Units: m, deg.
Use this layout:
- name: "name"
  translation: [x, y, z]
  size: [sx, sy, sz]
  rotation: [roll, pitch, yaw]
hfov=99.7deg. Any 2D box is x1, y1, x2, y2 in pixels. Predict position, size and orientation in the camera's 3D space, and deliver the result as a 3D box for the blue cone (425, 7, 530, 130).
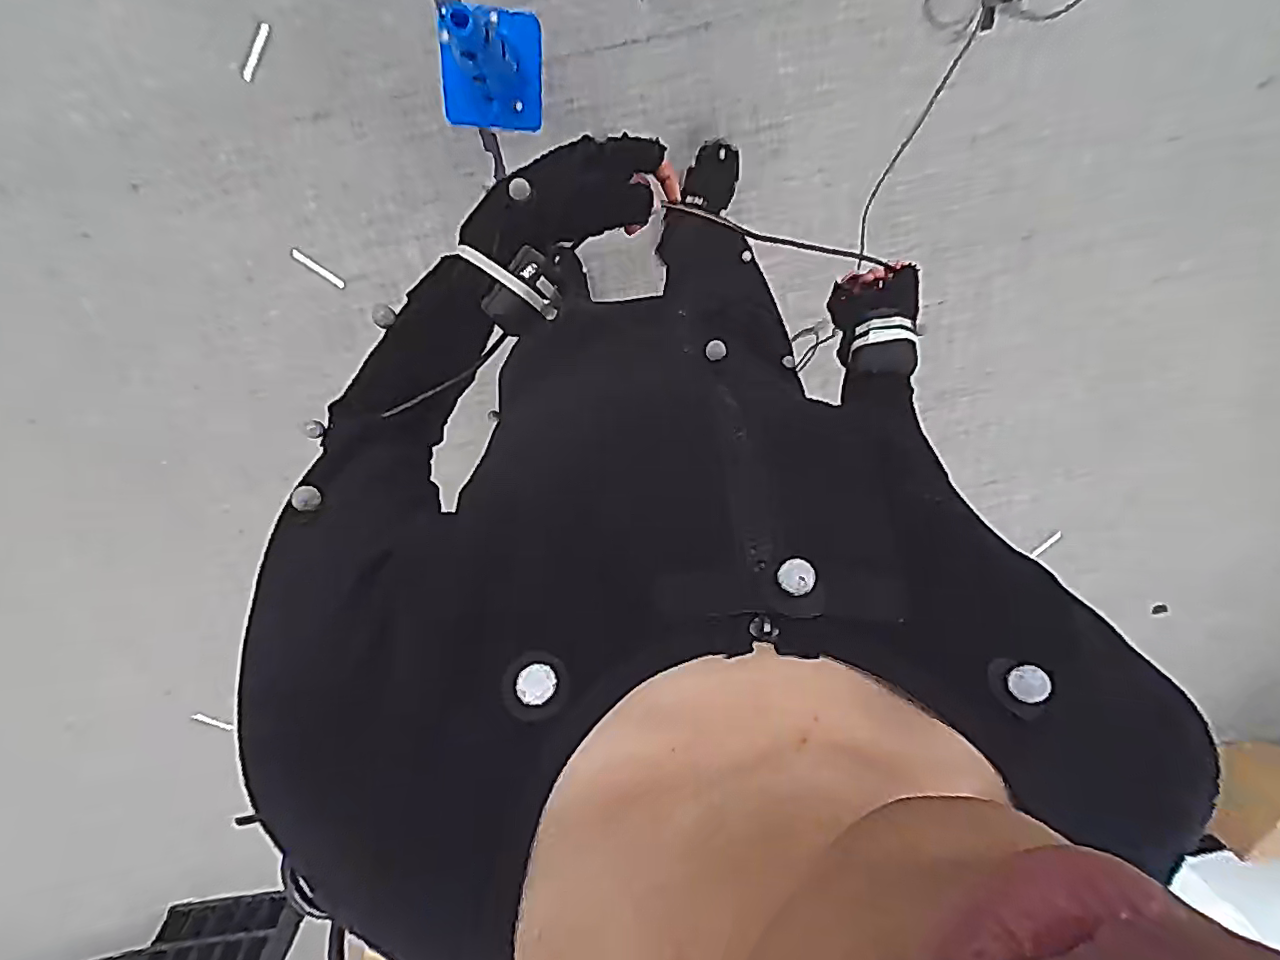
- name: "blue cone"
  translation: [-0.305, -0.754, 0.956]
  size: [0.192, 0.380, 0.193]
  rotation: [2, 116, -7]
